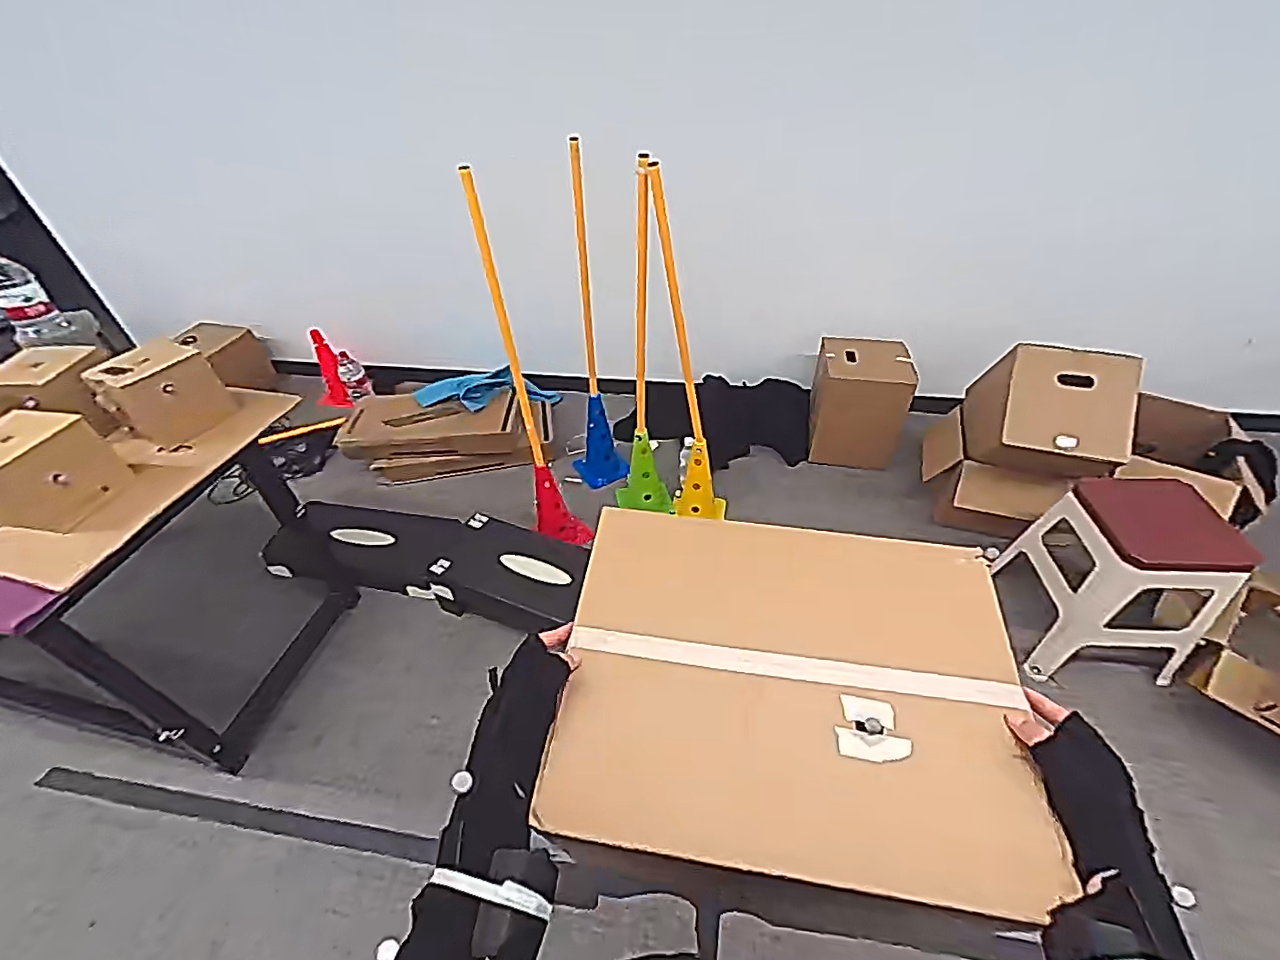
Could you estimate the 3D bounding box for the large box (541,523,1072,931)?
[{"bbox_3d":[0.137,0.278,0.613,0.408,0.320,0.320,7,52,7],"label":"large box"}]
